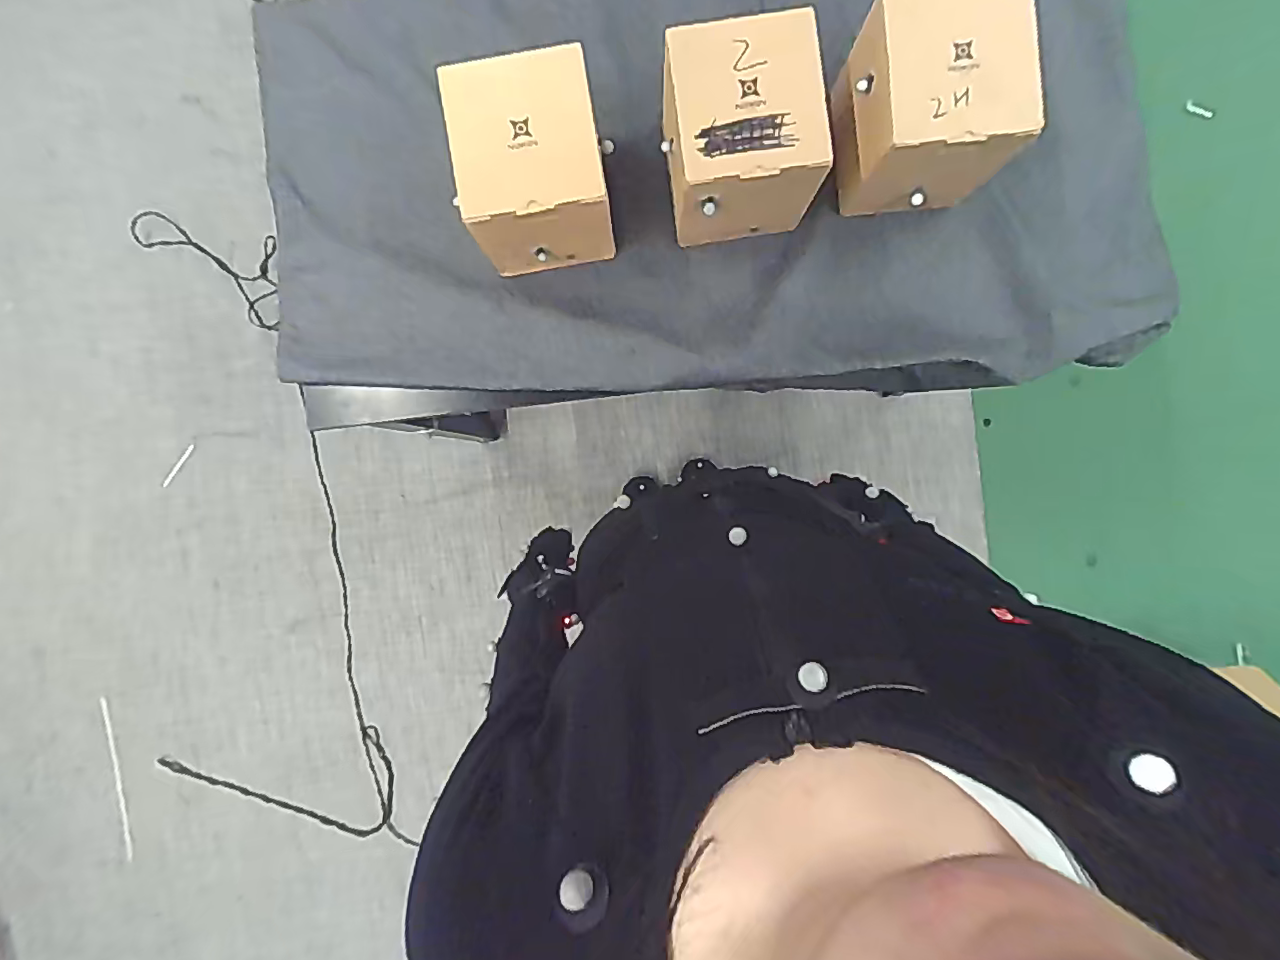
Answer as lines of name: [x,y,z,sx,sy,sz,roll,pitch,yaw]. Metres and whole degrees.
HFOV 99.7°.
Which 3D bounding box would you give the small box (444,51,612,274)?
small box: [-0.130,-0.390,0.692,0.168,0.176,0.179,-9,91,1]
